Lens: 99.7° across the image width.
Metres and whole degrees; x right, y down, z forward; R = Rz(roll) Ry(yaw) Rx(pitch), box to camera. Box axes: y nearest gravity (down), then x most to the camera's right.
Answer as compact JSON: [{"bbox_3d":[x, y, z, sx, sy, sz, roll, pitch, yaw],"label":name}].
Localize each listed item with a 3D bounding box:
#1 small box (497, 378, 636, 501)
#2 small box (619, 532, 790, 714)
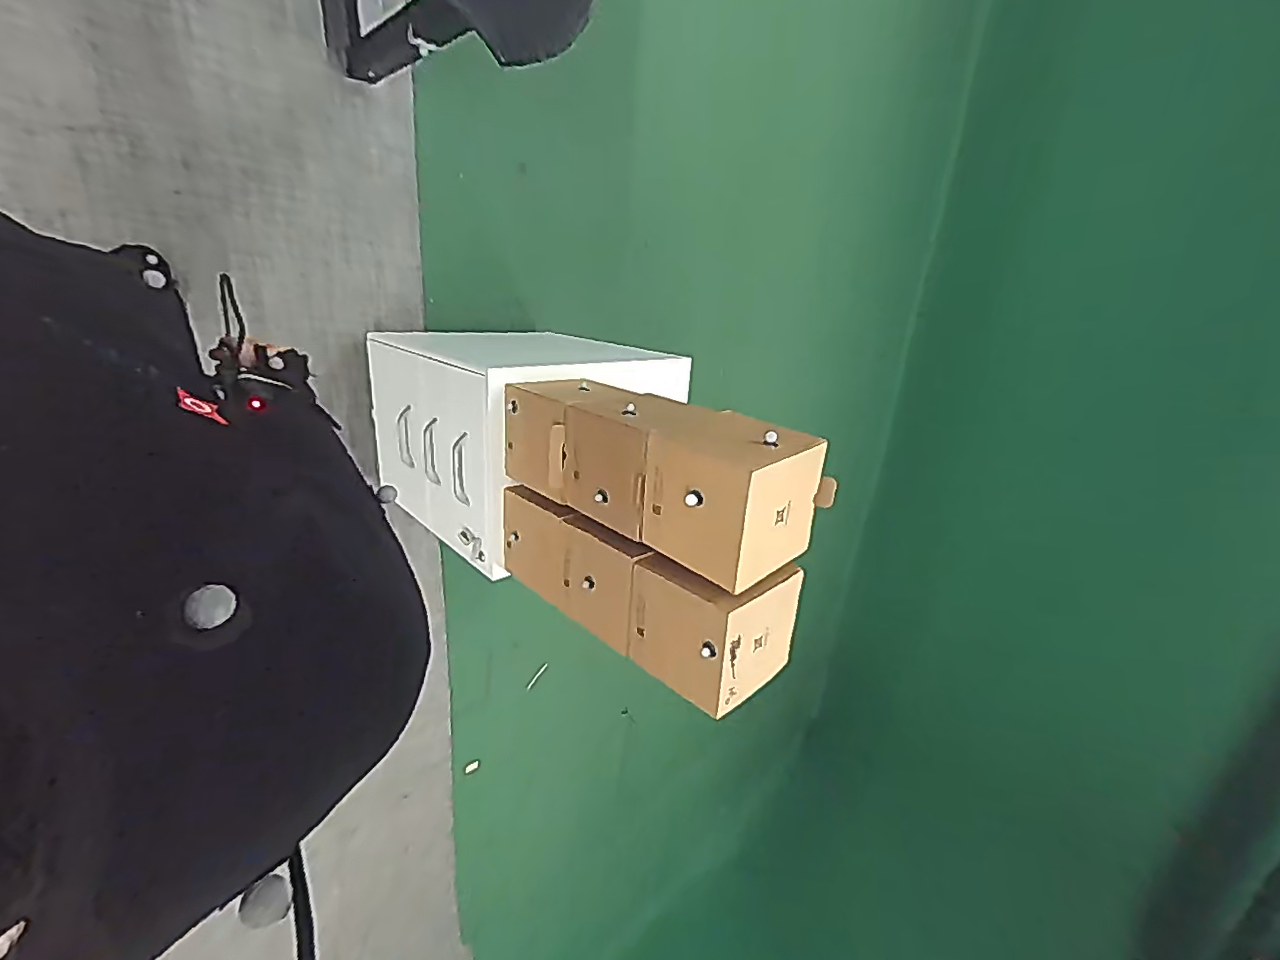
[{"bbox_3d":[-0.132,-0.079,0.935,0.179,0.176,0.168,-15,119,-44],"label":"small box"},{"bbox_3d":[0.092,0.192,0.790,0.179,0.176,0.168,-17,118,-44],"label":"small box"}]
